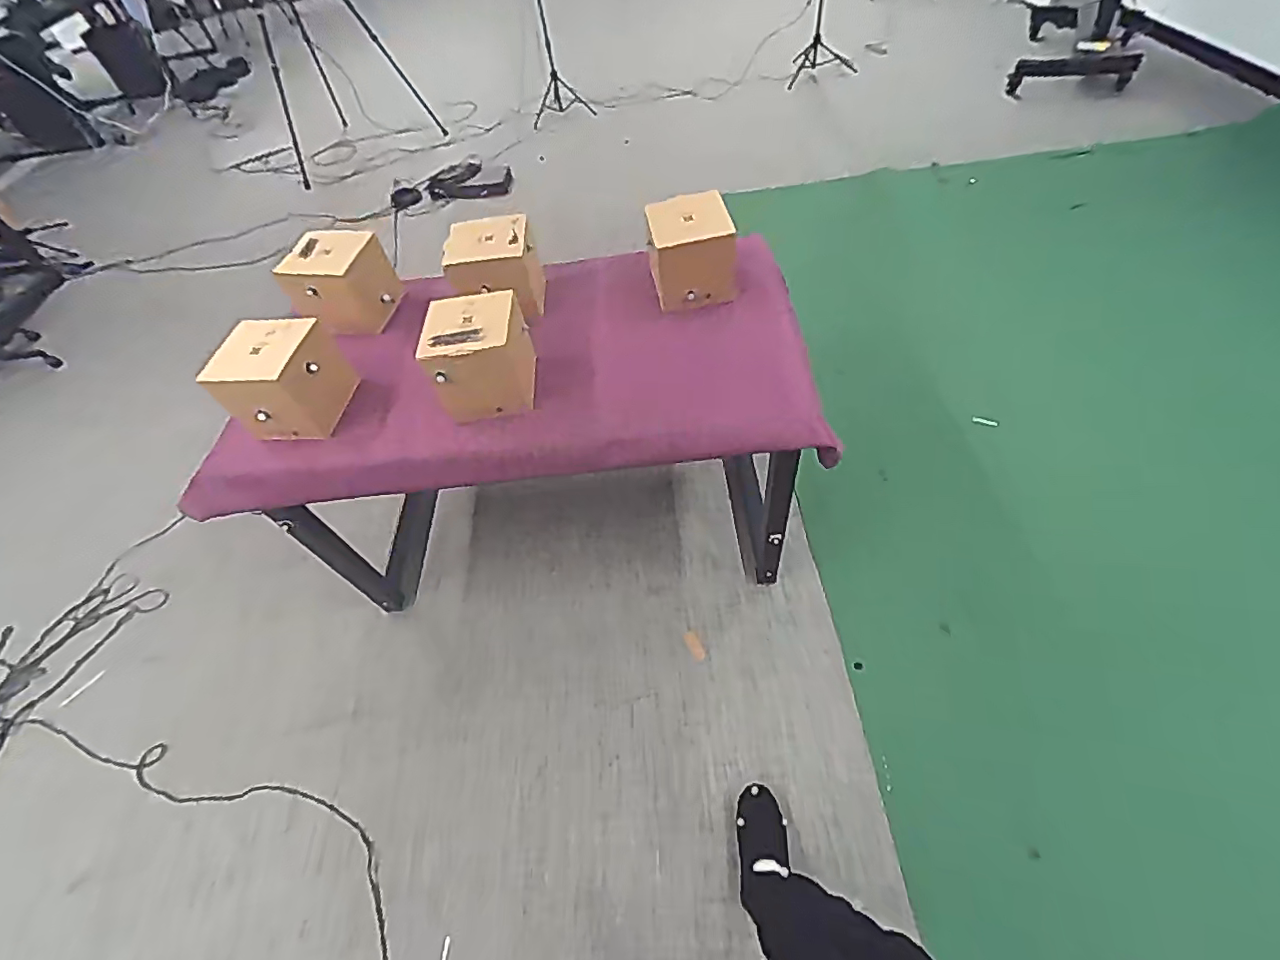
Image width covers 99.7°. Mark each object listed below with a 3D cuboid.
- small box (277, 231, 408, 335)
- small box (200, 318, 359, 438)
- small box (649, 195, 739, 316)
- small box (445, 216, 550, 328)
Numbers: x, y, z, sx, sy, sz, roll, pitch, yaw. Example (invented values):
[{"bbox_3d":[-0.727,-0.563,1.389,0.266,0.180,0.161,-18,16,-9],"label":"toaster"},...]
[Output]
[{"bbox_3d":[-0.683,-0.457,1.263,0.179,0.176,0.168,5,56,9],"label":"small box"},{"bbox_3d":[-0.699,-0.198,1.076,0.168,0.176,0.179,1,54,7],"label":"small box"},{"bbox_3d":[0.116,-0.491,1.189,0.168,0.176,0.179,-10,55,2],"label":"small box"},{"bbox_3d":[-0.315,-0.465,1.225,0.179,0.176,0.168,-6,55,4],"label":"small box"}]
